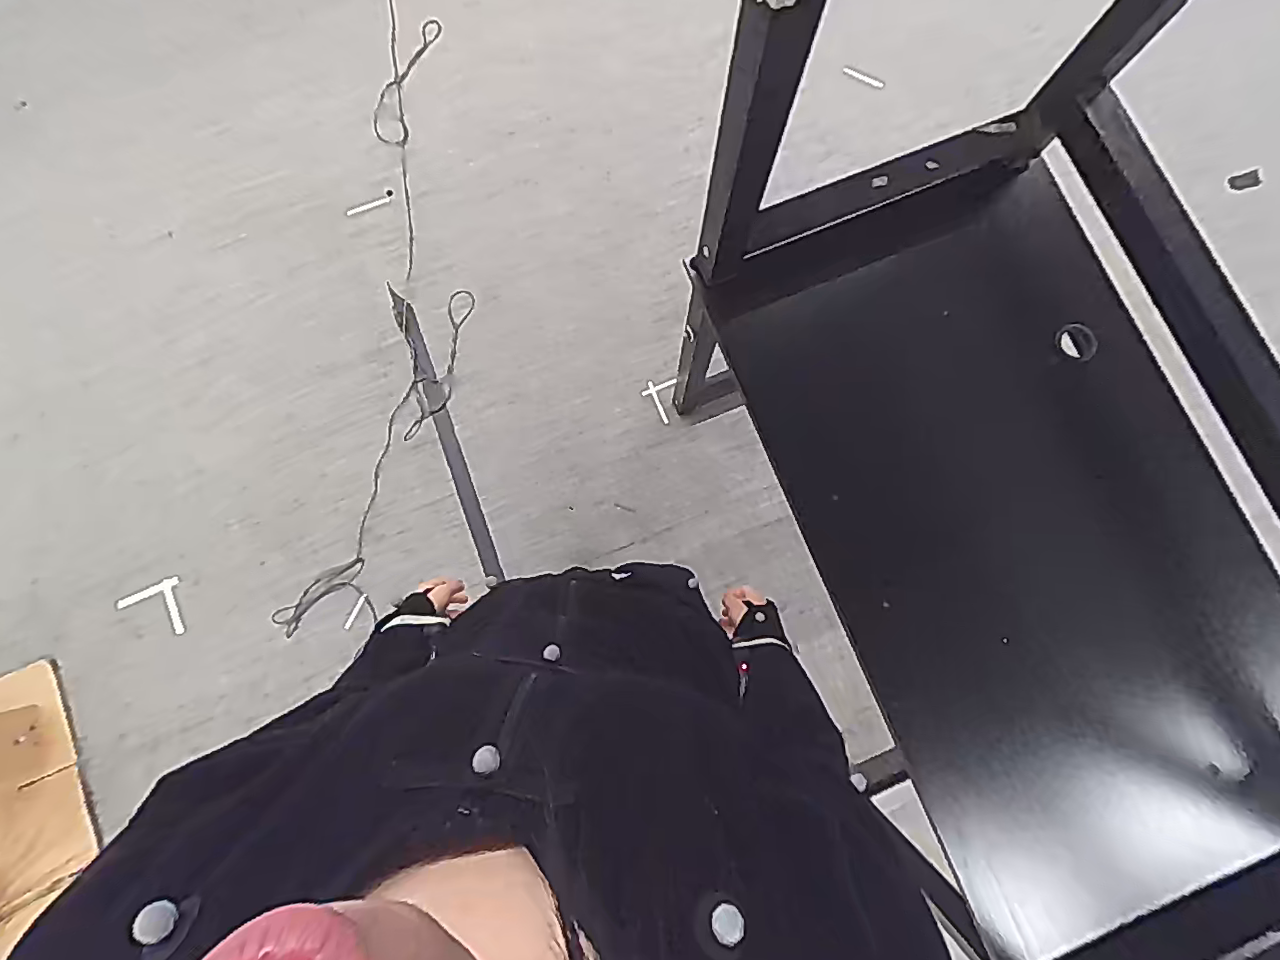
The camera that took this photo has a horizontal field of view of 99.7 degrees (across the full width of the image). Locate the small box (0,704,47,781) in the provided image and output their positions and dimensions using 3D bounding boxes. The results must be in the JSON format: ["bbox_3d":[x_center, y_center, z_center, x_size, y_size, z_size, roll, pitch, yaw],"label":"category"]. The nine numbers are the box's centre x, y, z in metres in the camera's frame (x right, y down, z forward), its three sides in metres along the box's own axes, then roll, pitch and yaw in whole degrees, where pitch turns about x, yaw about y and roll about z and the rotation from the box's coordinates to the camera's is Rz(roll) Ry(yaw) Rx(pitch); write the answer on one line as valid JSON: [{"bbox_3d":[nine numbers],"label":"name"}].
[{"bbox_3d":[-1.662,0.685,1.344,0.179,0.176,0.168,-22,83,-4],"label":"small box"}]
